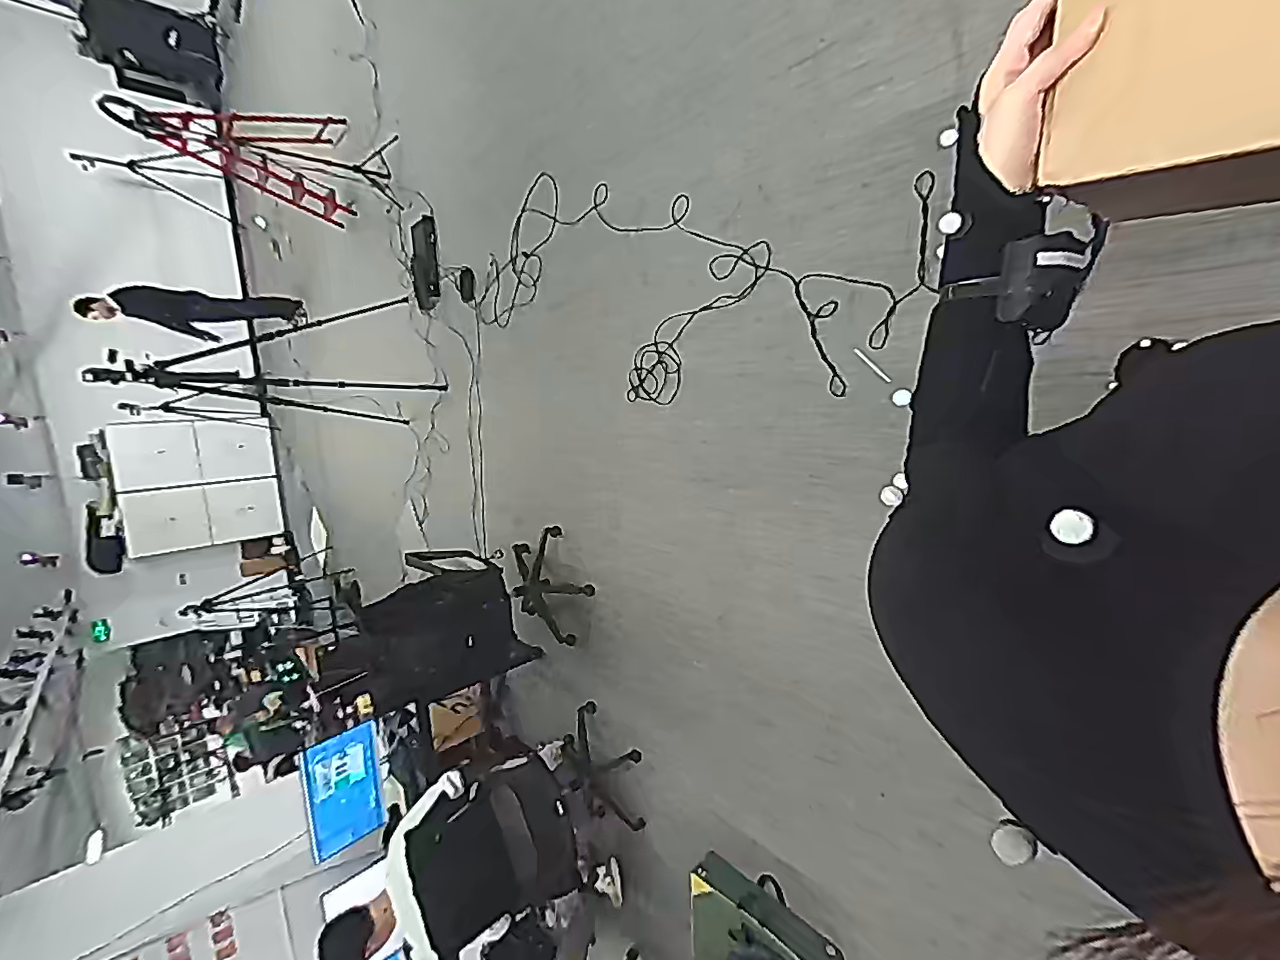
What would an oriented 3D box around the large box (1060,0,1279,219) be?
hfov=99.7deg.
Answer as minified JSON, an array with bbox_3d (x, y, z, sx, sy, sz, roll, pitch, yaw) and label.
[{"bbox_3d":[0.535,-0.370,0.312,0.408,0.320,0.320,12,112,45],"label":"large box"}]
